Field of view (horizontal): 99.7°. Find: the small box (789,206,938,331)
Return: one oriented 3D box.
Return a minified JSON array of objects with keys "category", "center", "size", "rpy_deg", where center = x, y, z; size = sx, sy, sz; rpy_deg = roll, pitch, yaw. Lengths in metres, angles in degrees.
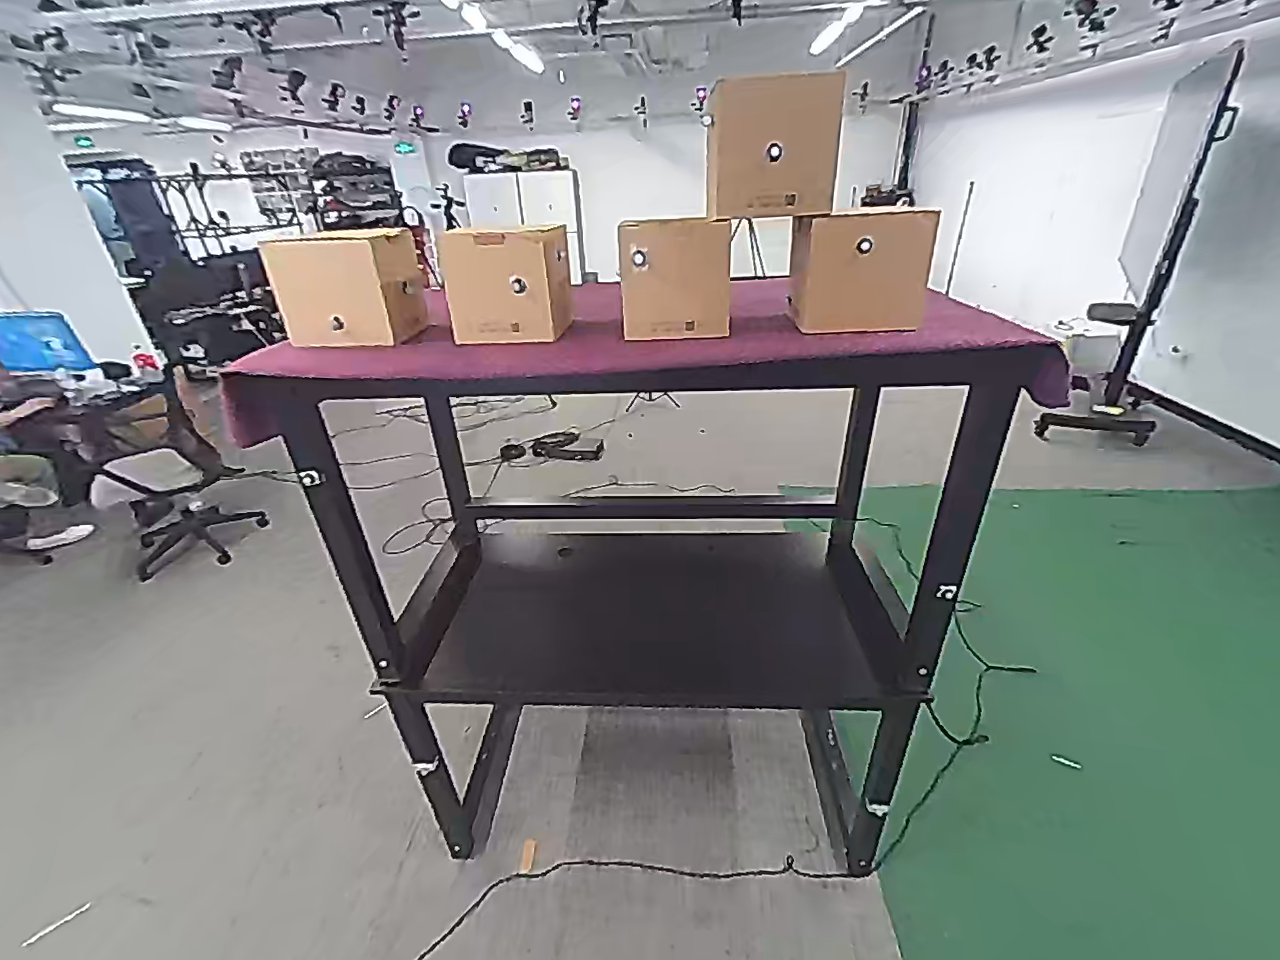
[{"category":"small box","center":[0.339,-0.337,0.862],"size":[0.179,0.176,0.168],"rpy_deg":[0,28,5]}]

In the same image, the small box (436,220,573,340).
[{"category":"small box","center":[-0.212,-0.333,0.902],"size":[0.168,0.176,0.179],"rpy_deg":[1,28,5]}]

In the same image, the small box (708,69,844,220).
[{"category":"small box","center":[0.188,-0.484,0.800],"size":[0.168,0.176,0.179],"rpy_deg":[-1,27,3]}]

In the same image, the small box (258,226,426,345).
[{"category":"small box","center":[-0.485,-0.331,0.916],"size":[0.179,0.176,0.168],"rpy_deg":[-1,28,1]}]
